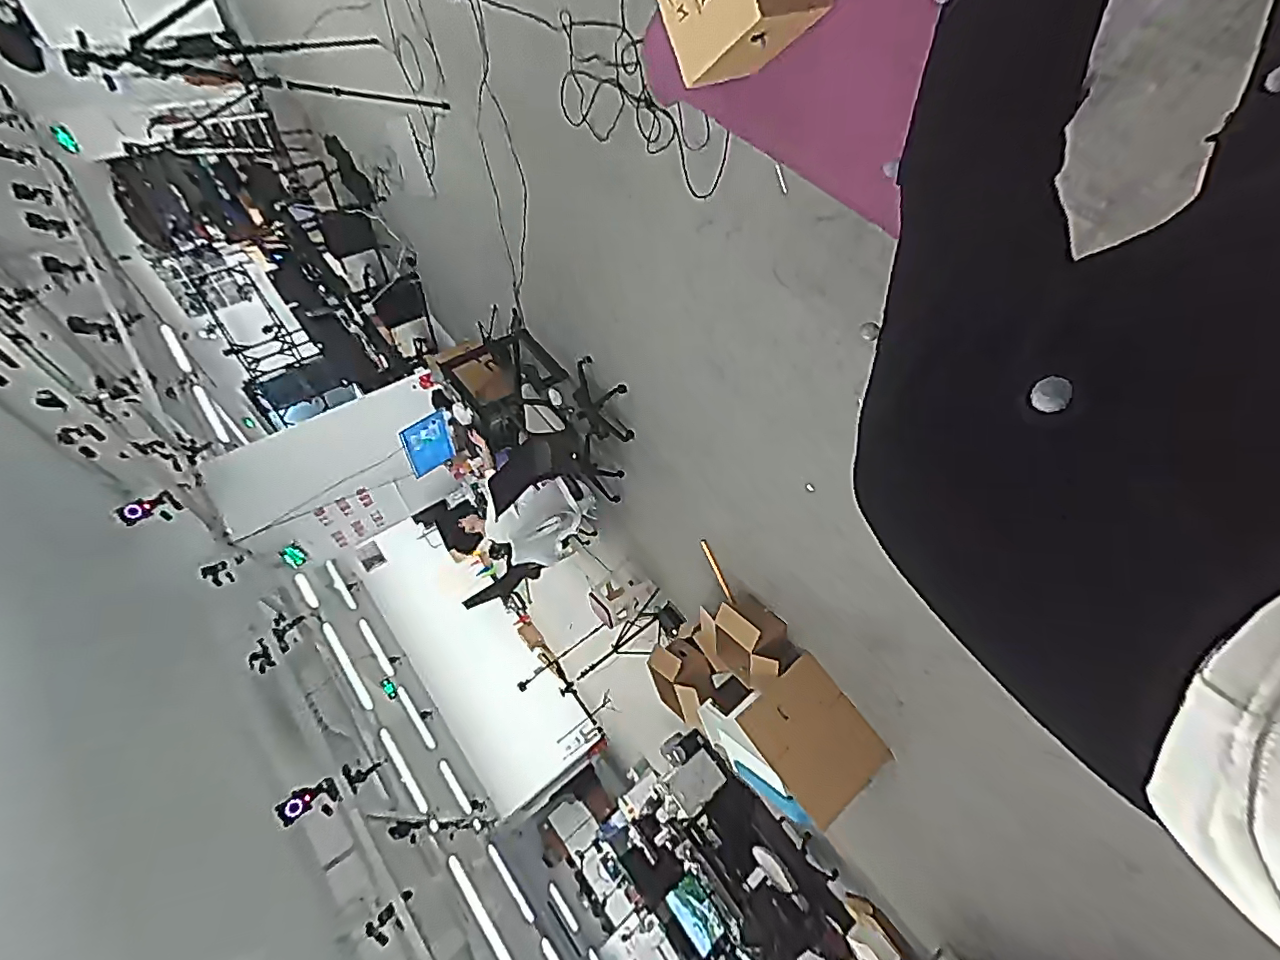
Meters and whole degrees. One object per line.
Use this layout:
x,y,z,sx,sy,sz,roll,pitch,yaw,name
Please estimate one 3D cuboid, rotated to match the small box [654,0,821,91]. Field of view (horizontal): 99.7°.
0.149,-0.737,0.818,0.179,0.176,0.168,6,123,59,small box
